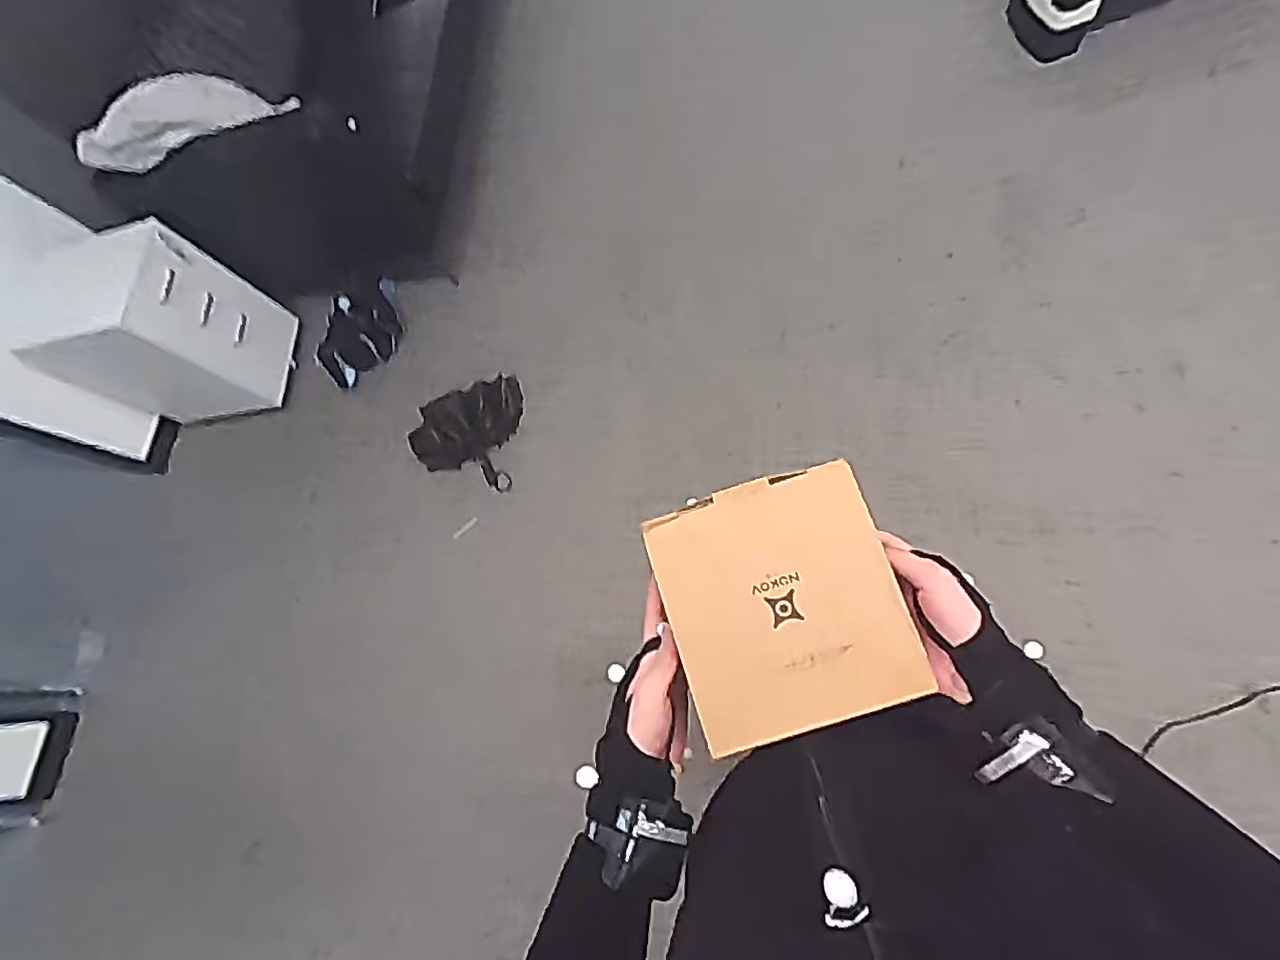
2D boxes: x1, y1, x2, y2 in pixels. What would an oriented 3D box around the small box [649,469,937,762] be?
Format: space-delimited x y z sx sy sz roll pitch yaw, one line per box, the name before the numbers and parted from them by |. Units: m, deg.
small box | 0.113 0.109 0.469 0.168 0.176 0.179 -17 79 3
